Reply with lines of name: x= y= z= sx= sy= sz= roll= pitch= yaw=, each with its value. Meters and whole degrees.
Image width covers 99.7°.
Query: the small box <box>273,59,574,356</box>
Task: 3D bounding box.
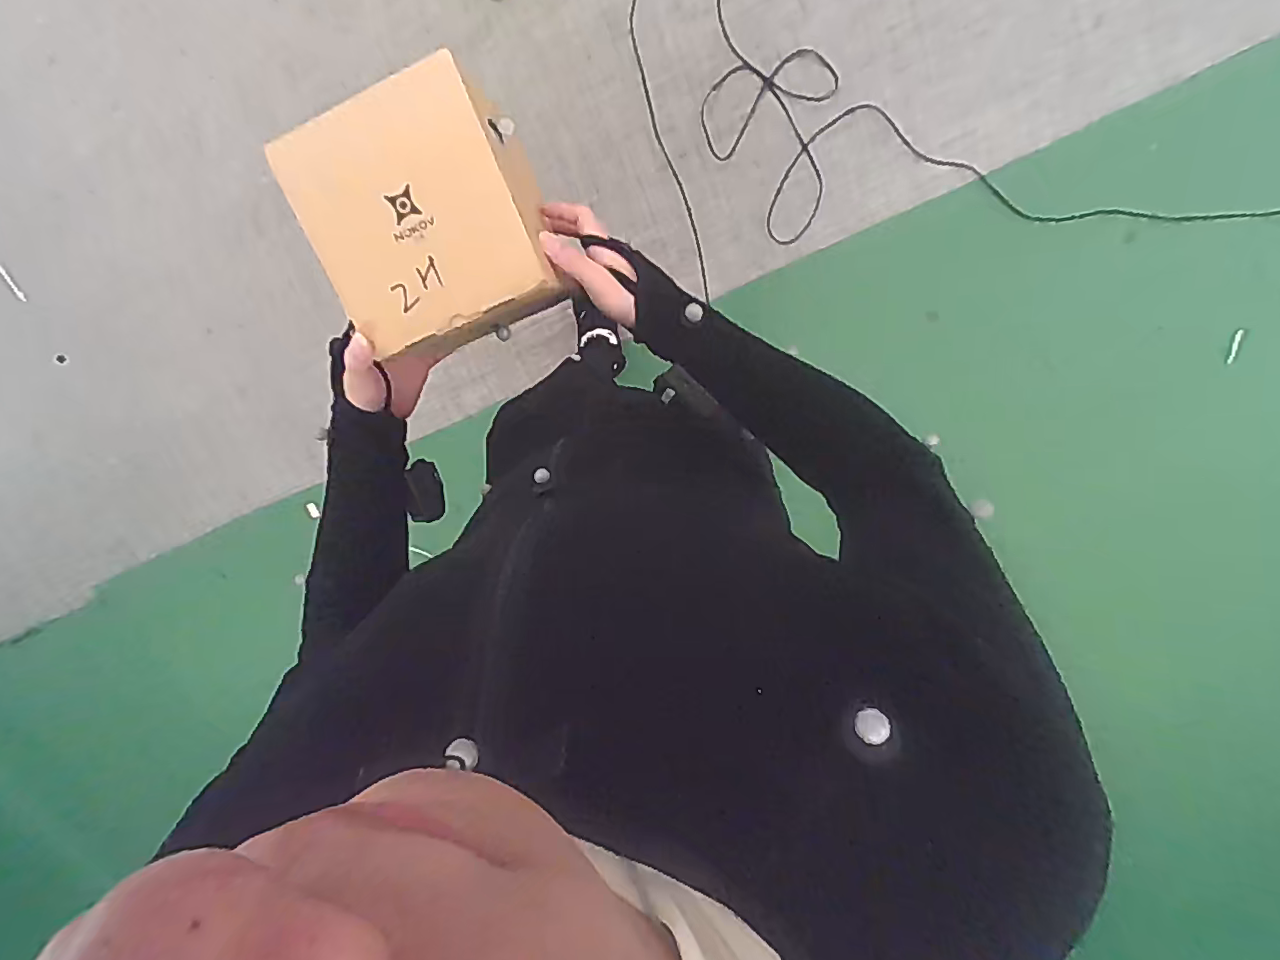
small box: x=-0.177 y=-0.229 z=0.504 sx=0.168 sy=0.176 sz=0.179 roll=-19 pitch=105 yaw=9
